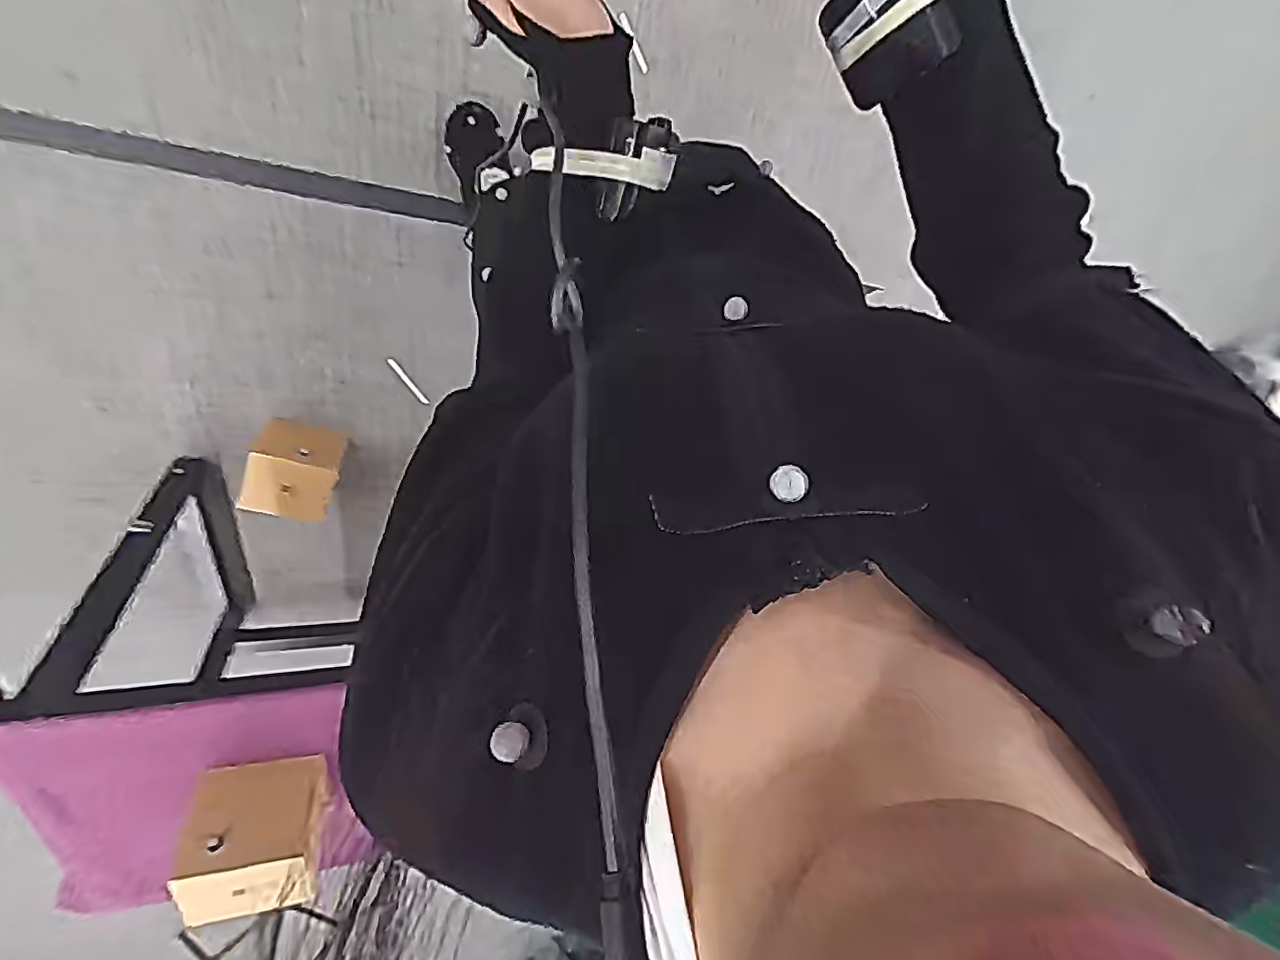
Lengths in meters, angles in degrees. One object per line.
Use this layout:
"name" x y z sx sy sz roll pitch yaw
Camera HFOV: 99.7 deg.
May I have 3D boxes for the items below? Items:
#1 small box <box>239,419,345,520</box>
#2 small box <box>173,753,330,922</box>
"small box" -0.845 -0.029 1.324 0.179 0.176 0.168 16 117 -32
"small box" -0.637 0.593 0.913 0.179 0.176 0.168 2 125 -23
